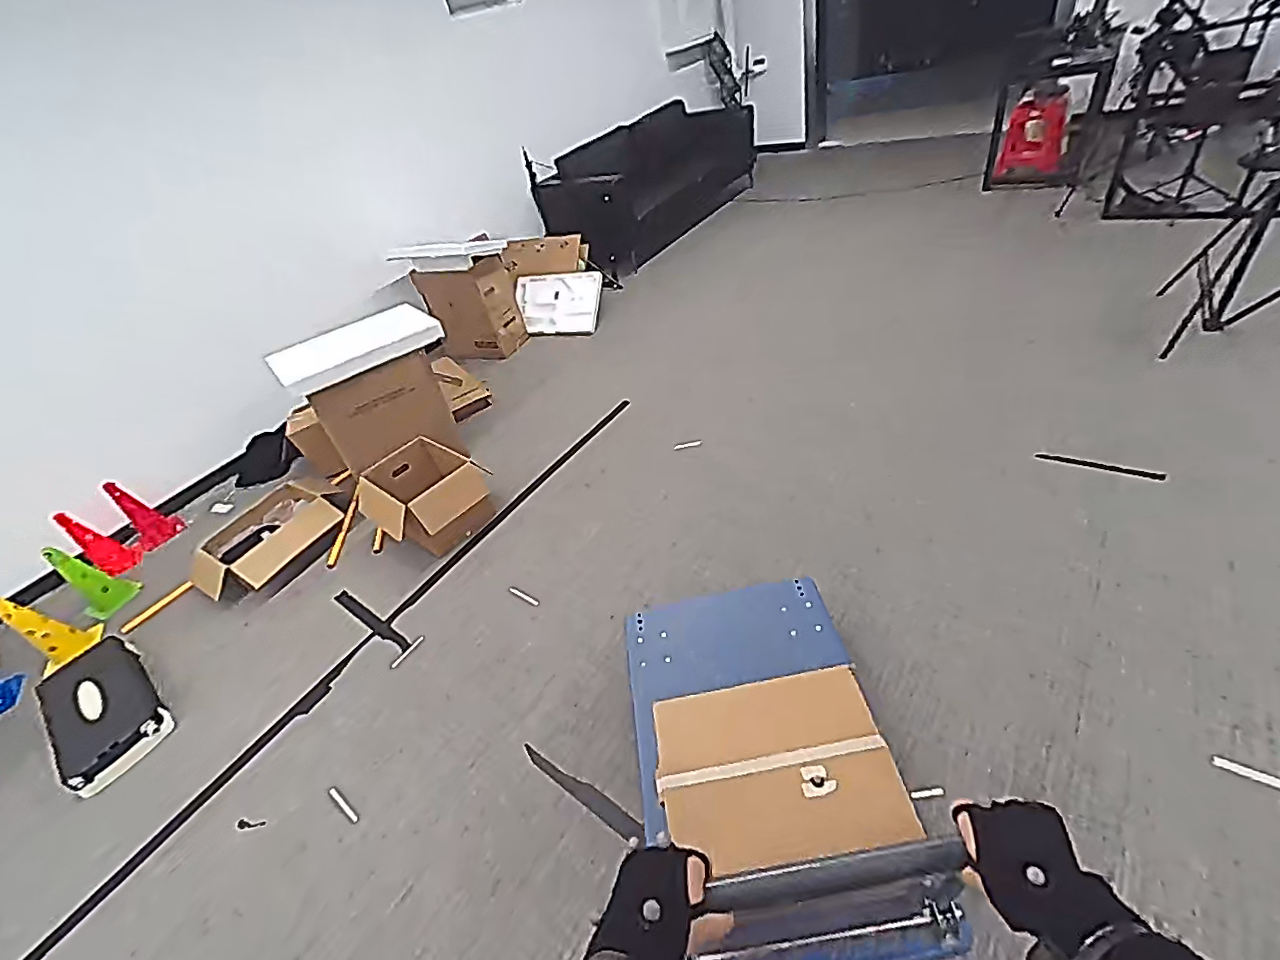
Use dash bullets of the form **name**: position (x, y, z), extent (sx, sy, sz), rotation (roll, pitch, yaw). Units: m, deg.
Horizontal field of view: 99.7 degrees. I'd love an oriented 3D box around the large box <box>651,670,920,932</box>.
- **large box**: position (0.257, 0.628, 1.060), extent (0.408, 0.320, 0.320), rotation (-11, 40, 2)
